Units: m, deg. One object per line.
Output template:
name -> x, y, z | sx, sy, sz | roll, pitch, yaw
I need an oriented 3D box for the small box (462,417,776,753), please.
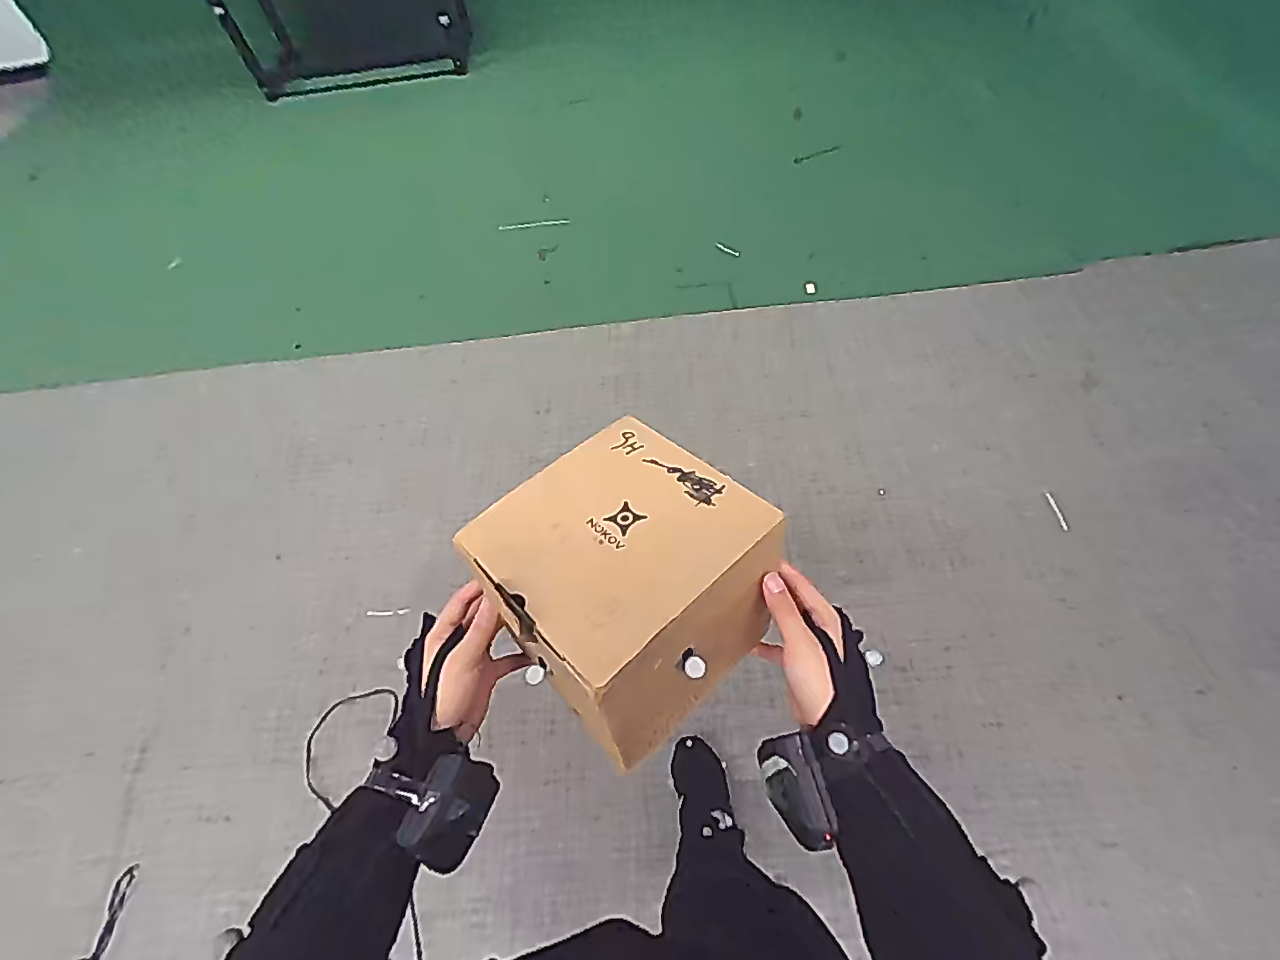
small box -> -0.008, 0.086, 0.448 | 0.179, 0.176, 0.168 | -37, 53, -24
